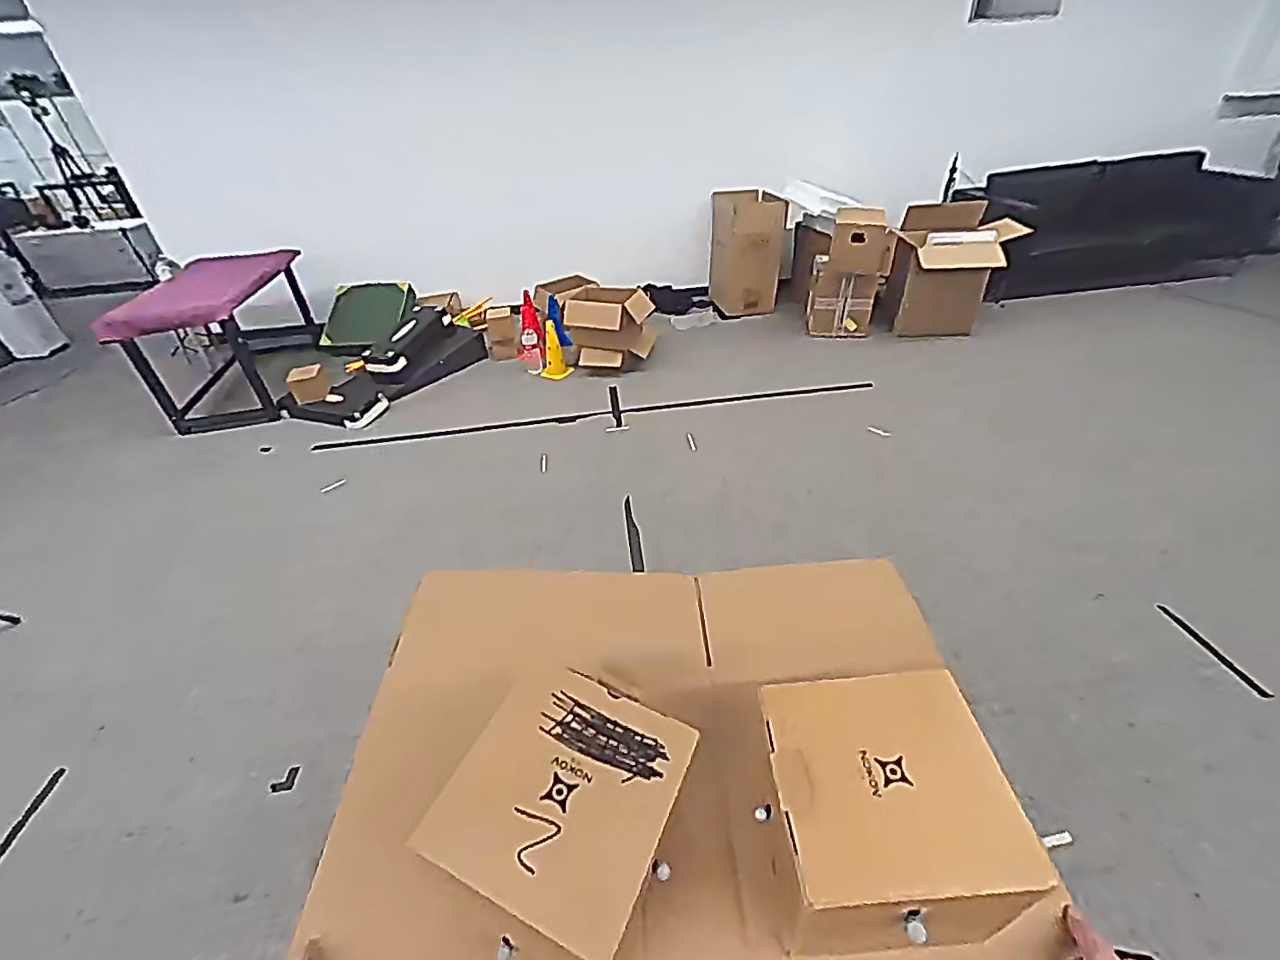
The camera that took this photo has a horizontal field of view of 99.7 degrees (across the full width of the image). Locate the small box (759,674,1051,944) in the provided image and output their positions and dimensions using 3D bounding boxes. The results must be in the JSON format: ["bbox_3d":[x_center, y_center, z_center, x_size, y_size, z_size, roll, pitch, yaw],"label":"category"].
[{"bbox_3d":[0.213,0.302,0.498,0.179,0.176,0.168,-6,40,2],"label":"small box"}]
